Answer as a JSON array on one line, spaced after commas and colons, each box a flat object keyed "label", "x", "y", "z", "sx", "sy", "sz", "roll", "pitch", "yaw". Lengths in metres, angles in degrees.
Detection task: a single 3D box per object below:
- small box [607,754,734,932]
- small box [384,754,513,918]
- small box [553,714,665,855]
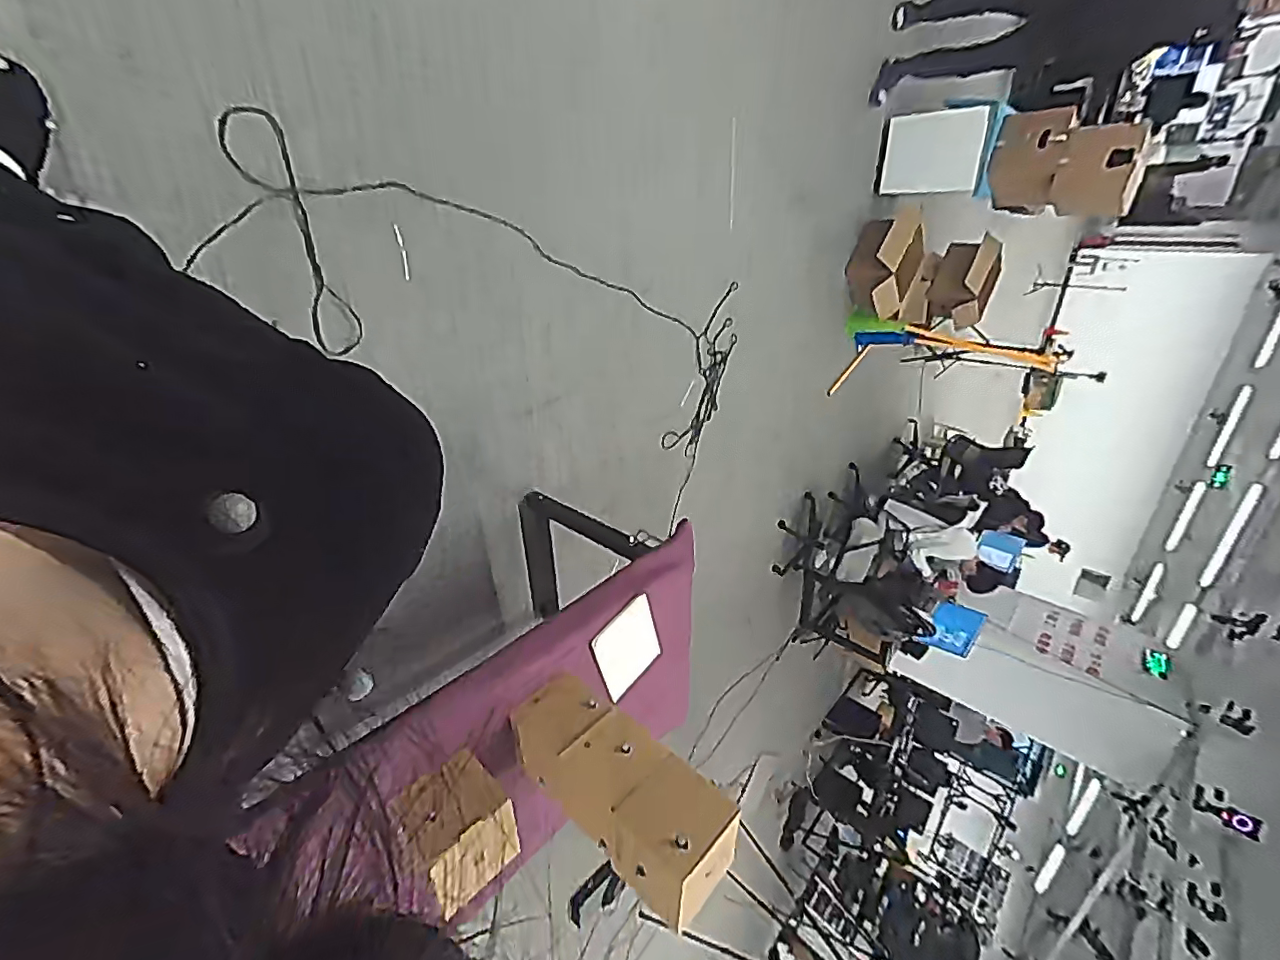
[{"label": "small box", "x": 0.052, "y": 0.666, "z": 1.012, "sx": 0.179, "sy": 0.176, "sz": 0.168, "roll": -24, "pitch": 126, "yaw": -43}, {"label": "small box", "x": -0.368, "y": 0.668, "z": 1.042, "sx": 0.168, "sy": 0.176, "sz": 0.179, "roll": -26, "pitch": 127, "yaw": -41}, {"label": "small box", "x": -0.065, "y": 0.619, "z": 1.119, "sx": 0.168, "sy": 0.176, "sz": 0.179, "roll": -26, "pitch": 127, "yaw": -42}]
